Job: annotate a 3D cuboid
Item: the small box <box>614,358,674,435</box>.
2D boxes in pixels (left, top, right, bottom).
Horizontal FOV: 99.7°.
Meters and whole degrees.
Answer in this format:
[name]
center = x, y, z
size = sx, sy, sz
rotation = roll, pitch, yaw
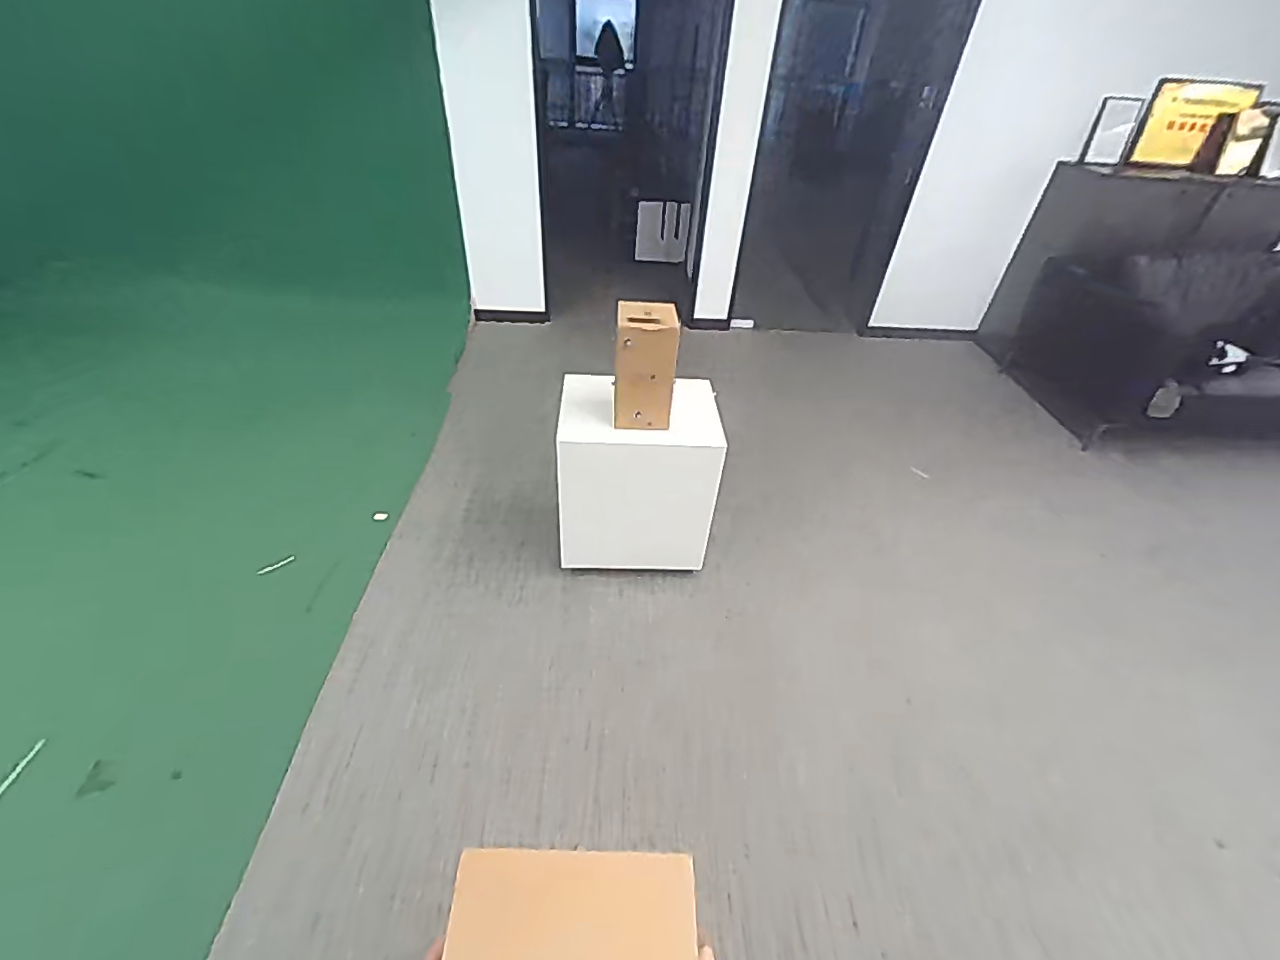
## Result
[small box]
center = 0.007, -0.256, 1.651
size = 0.168, 0.176, 0.179
rotation = 1, 38, -4
